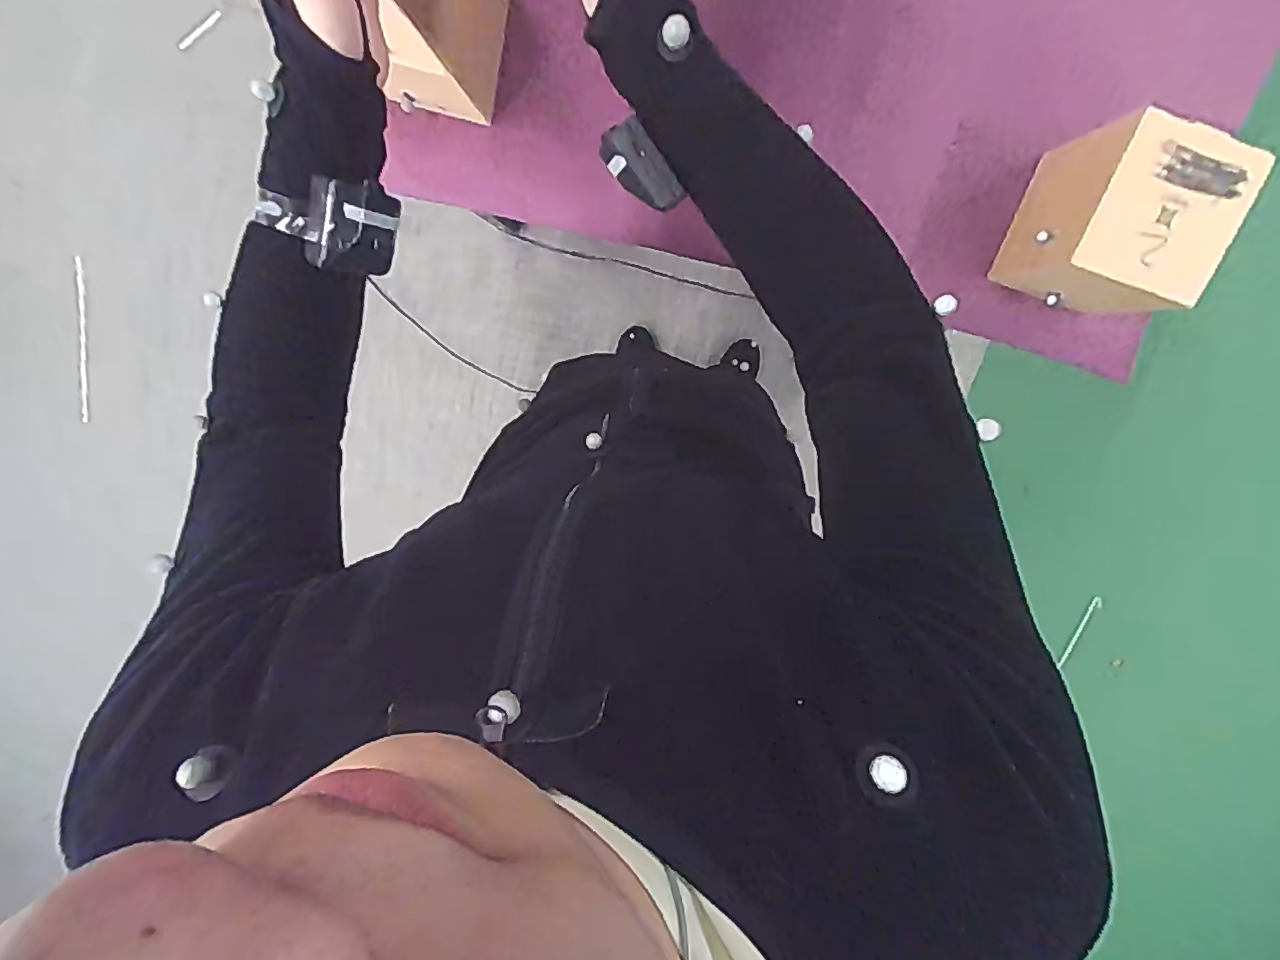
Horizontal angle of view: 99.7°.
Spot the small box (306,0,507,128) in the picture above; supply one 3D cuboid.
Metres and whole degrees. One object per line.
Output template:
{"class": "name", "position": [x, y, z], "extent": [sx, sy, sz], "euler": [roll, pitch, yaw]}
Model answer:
{"class": "small box", "position": [-0.269, -0.569, 0.652], "extent": [0.168, 0.176, 0.179], "euler": [14, 105, -2]}

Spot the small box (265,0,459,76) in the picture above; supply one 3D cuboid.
{"class": "small box", "position": [-0.269, -0.520, 0.498], "extent": [0.168, 0.176, 0.179], "euler": [14, 103, -2]}
